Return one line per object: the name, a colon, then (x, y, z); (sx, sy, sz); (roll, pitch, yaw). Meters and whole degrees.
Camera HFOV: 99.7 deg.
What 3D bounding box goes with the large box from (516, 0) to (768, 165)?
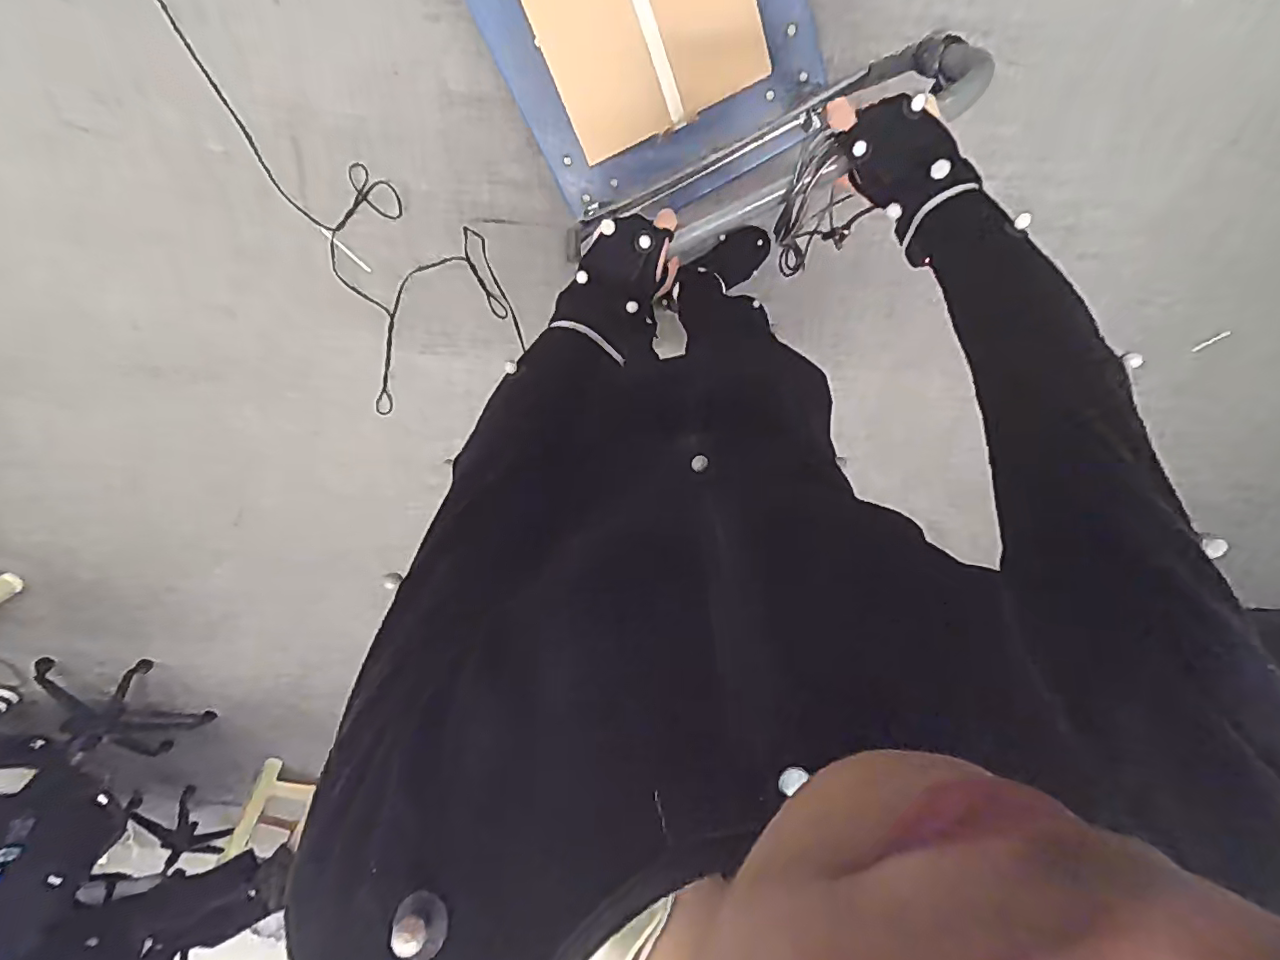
large box: (-0.024, -0.790, 0.872); (0.320, 0.320, 0.408); (-20, 120, 11)
